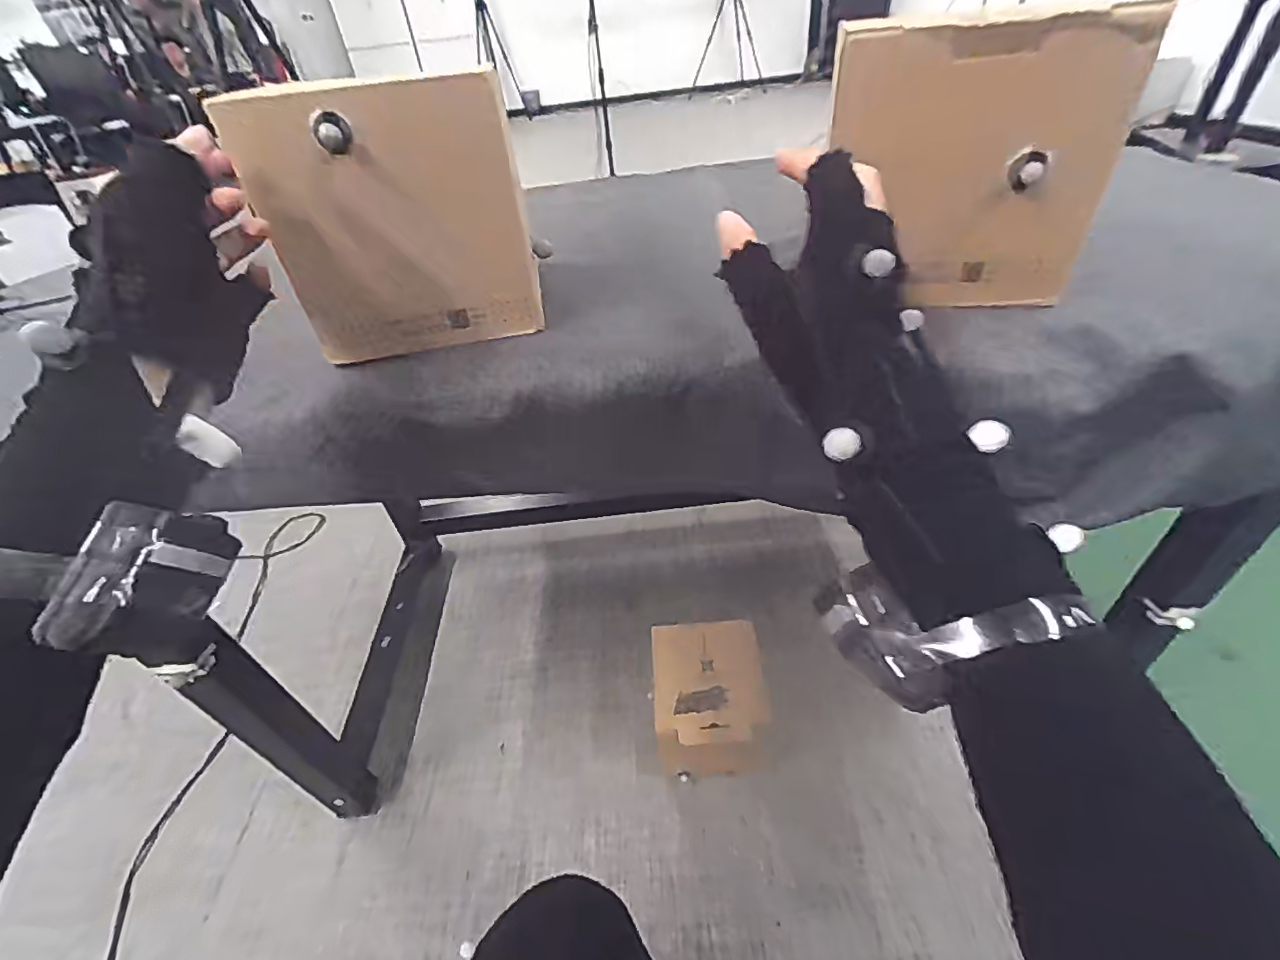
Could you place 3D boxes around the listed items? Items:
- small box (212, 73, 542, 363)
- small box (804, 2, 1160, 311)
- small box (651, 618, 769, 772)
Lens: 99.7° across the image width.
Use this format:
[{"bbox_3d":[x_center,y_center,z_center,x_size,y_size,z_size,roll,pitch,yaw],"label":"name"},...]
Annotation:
[{"bbox_3d":[-0.177,-0.212,0.434,0.168,0.176,0.179,-11,38,-4],"label":"small box"},{"bbox_3d":[0.220,-0.239,0.410,0.168,0.176,0.179,6,40,13],"label":"small box"},{"bbox_3d":[0.109,0.347,0.863,0.168,0.176,0.179,-5,39,3],"label":"small box"}]
